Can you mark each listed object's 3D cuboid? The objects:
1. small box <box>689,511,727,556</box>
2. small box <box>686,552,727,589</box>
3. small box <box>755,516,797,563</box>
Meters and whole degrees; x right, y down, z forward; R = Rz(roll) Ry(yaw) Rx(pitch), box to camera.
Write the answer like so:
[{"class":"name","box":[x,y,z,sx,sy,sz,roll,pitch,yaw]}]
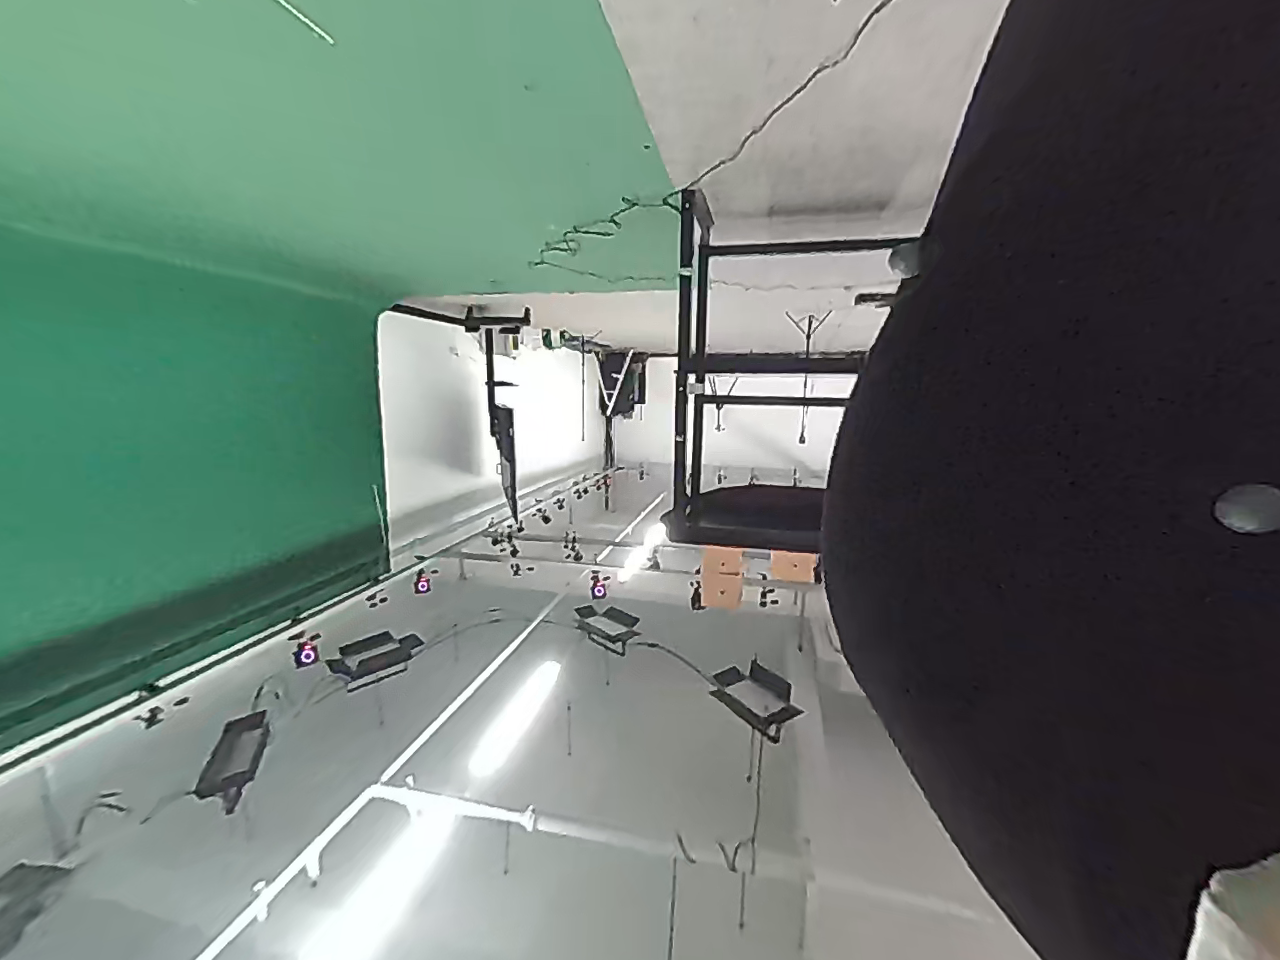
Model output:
[{"class":"small box","box":[0.321,0.247,2.551,0.179,0.176,0.168,2,-168,9]},{"class":"small box","box":[0.322,0.407,2.583,0.179,0.176,0.168,2,-168,15]},{"class":"small box","box":[0.620,0.268,2.474,0.179,0.176,0.168,2,-168,11]}]
